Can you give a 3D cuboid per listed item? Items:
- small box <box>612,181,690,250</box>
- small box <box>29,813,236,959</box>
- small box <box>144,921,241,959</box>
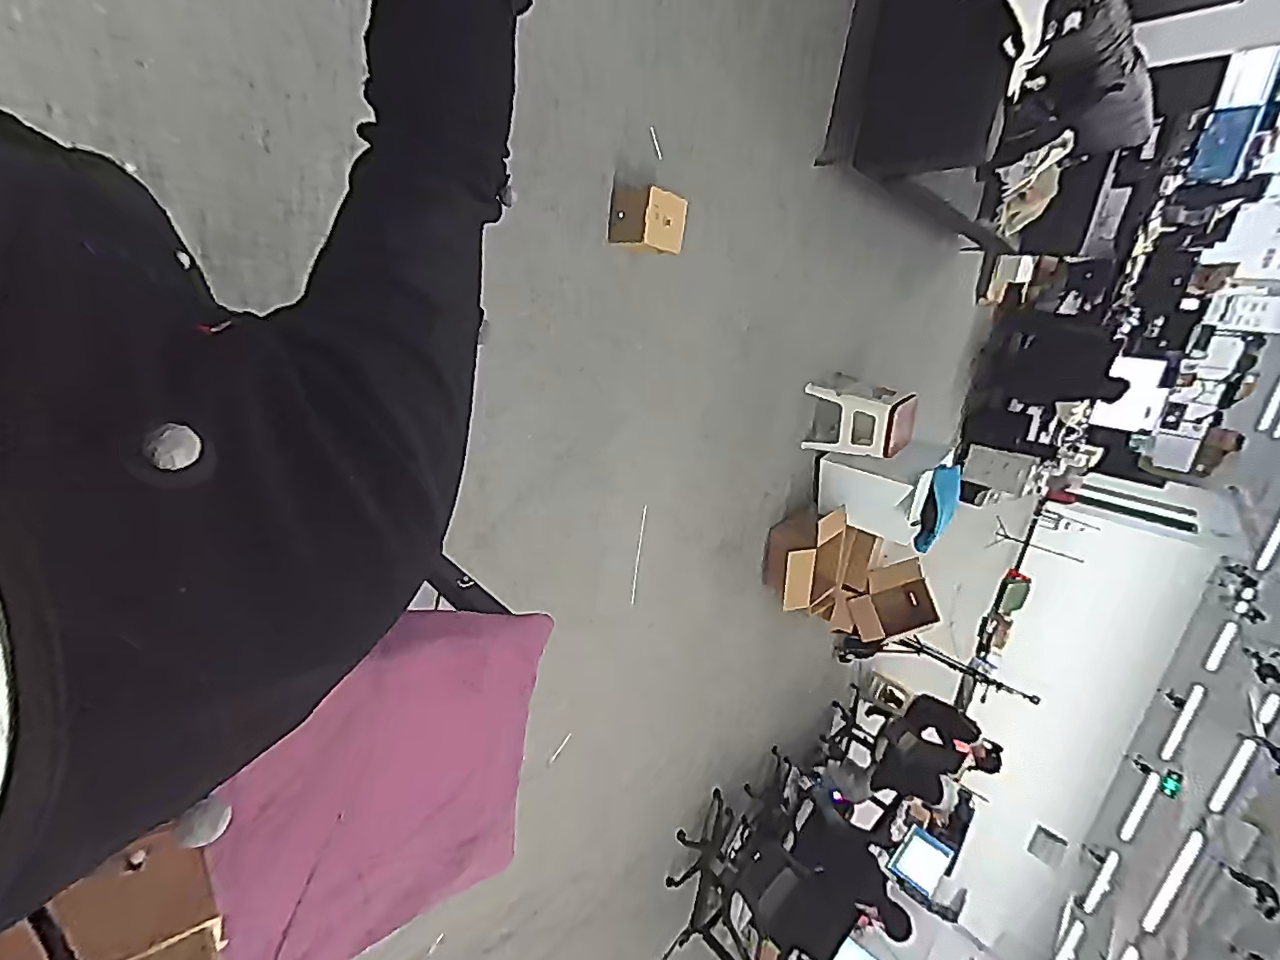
[{"bbox_3d":[0.034,-0.854,1.755,0.179,0.176,0.168,-7,112,-44],"label":"small box"},{"bbox_3d":[-0.603,0.553,0.644,0.168,0.176,0.179,0,108,-47],"label":"small box"},{"bbox_3d":[-0.497,0.604,0.534,0.179,0.176,0.168,-2,110,-46],"label":"small box"}]
